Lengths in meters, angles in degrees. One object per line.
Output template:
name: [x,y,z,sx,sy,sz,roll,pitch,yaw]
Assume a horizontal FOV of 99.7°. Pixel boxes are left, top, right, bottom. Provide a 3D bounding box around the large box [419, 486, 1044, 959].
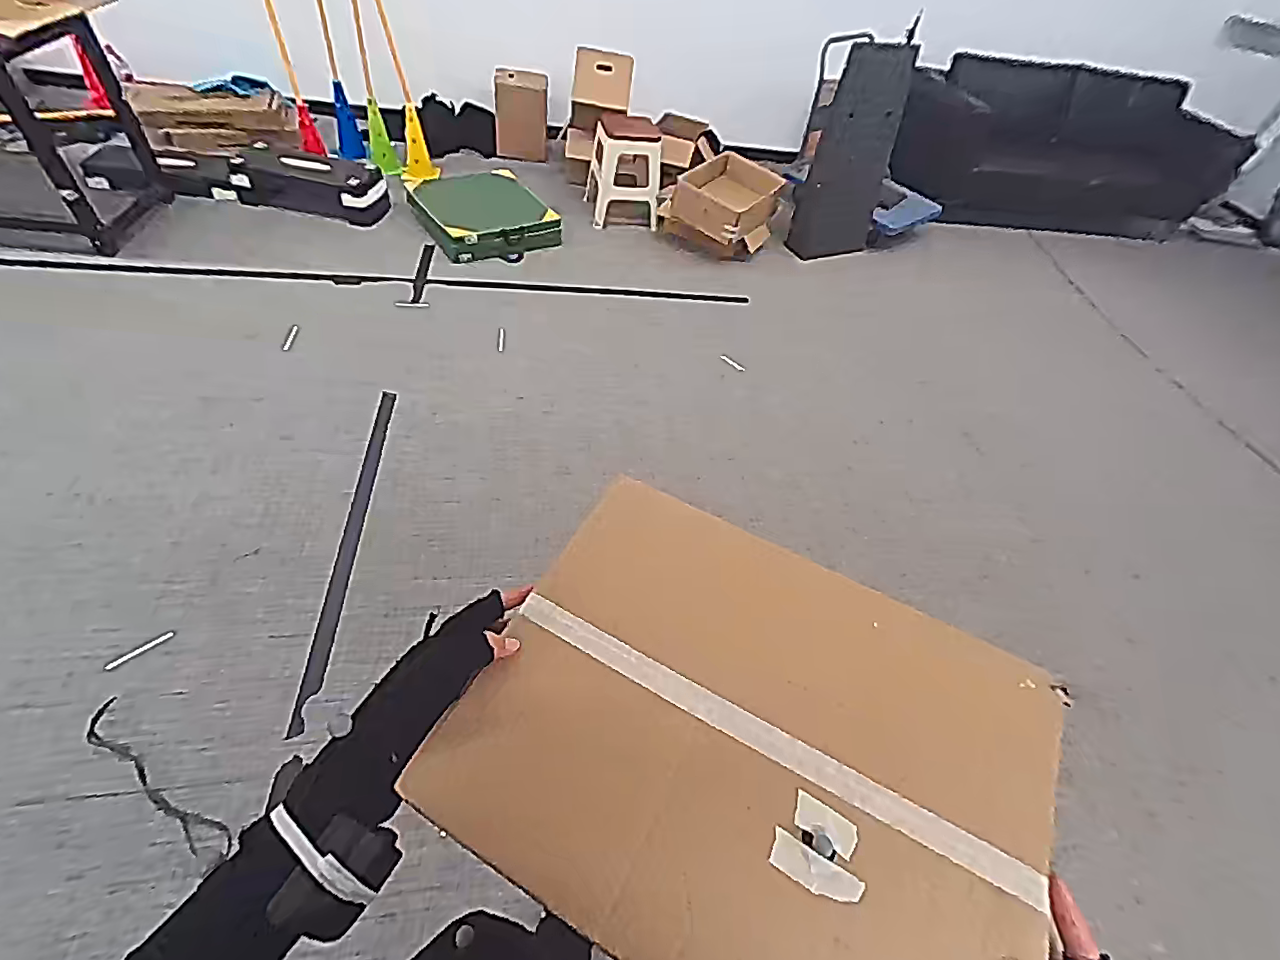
large box: [0.079,0.274,0.533,0.408,0.320,0.320,25,58,16]
